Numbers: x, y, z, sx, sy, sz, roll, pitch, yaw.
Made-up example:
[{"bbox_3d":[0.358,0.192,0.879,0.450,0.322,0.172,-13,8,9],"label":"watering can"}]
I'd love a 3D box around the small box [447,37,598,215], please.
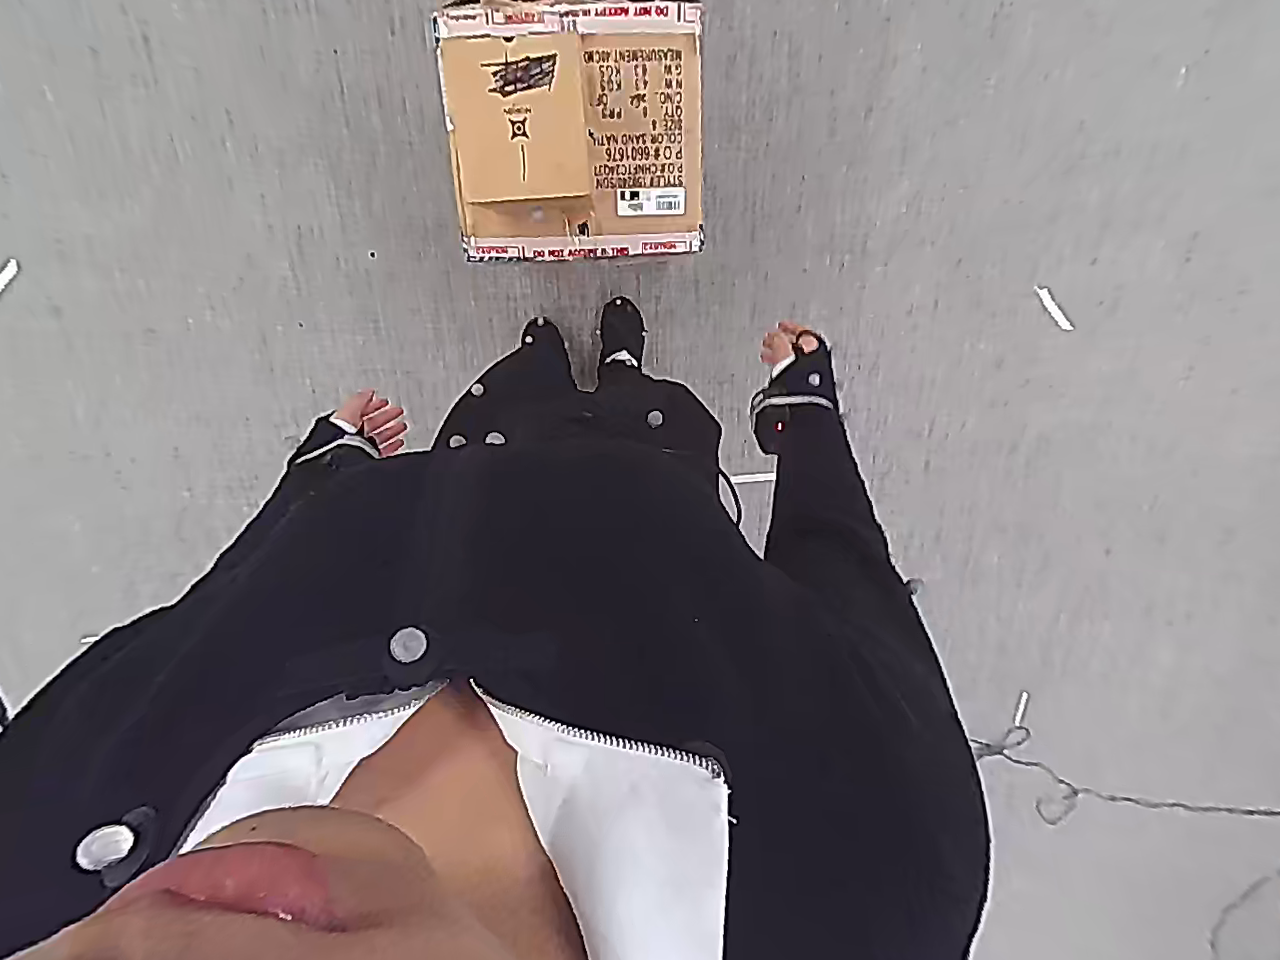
[{"bbox_3d":[-0.148,-0.471,0.746,0.168,0.176,0.179,-4,113,0],"label":"small box"}]
